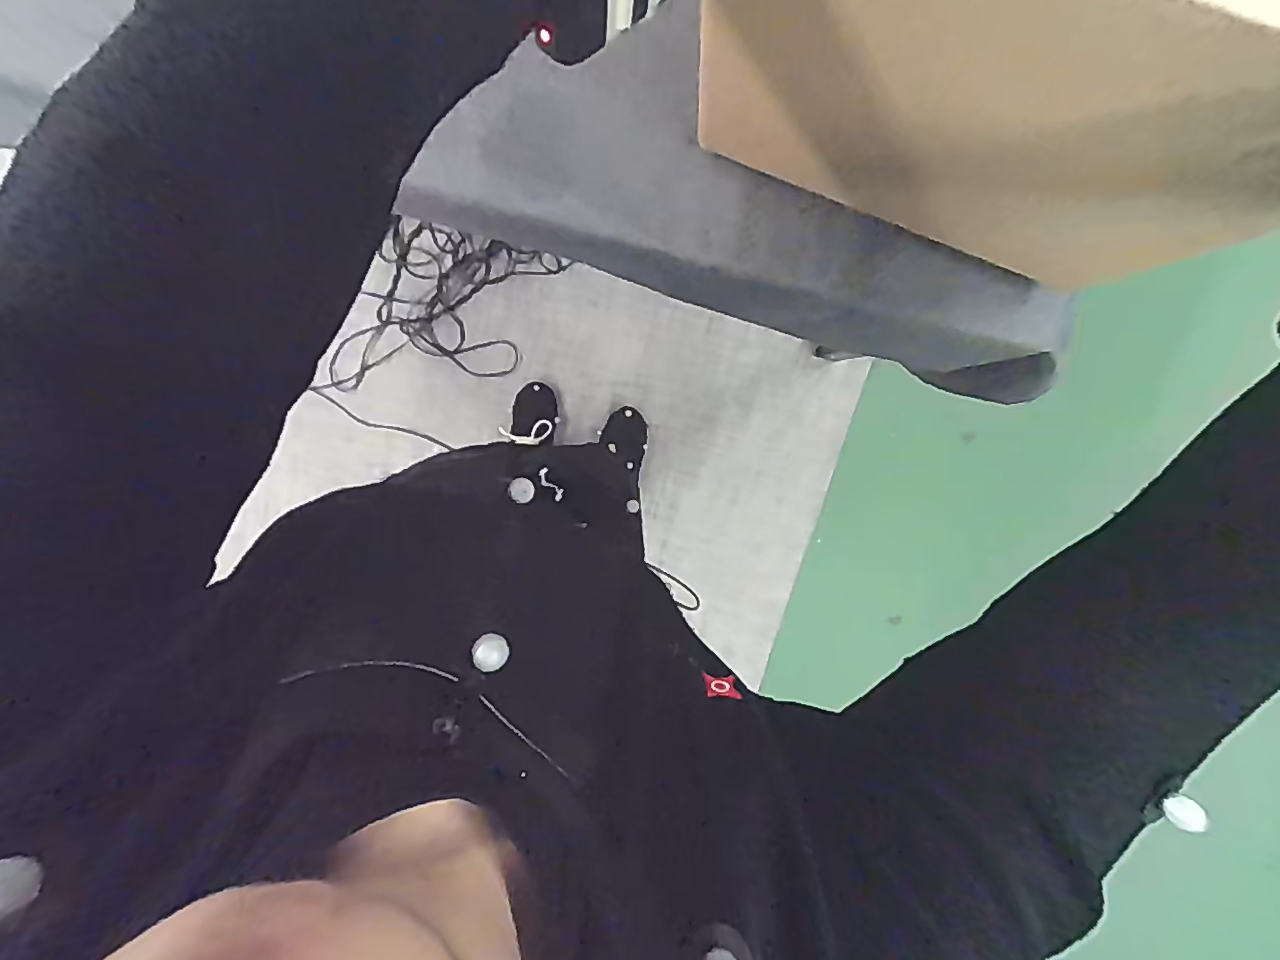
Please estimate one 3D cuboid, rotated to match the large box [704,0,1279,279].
[{"bbox_3d":[0.288,-0.385,0.366,0.408,0.320,0.320,22,99,1],"label":"large box"}]
